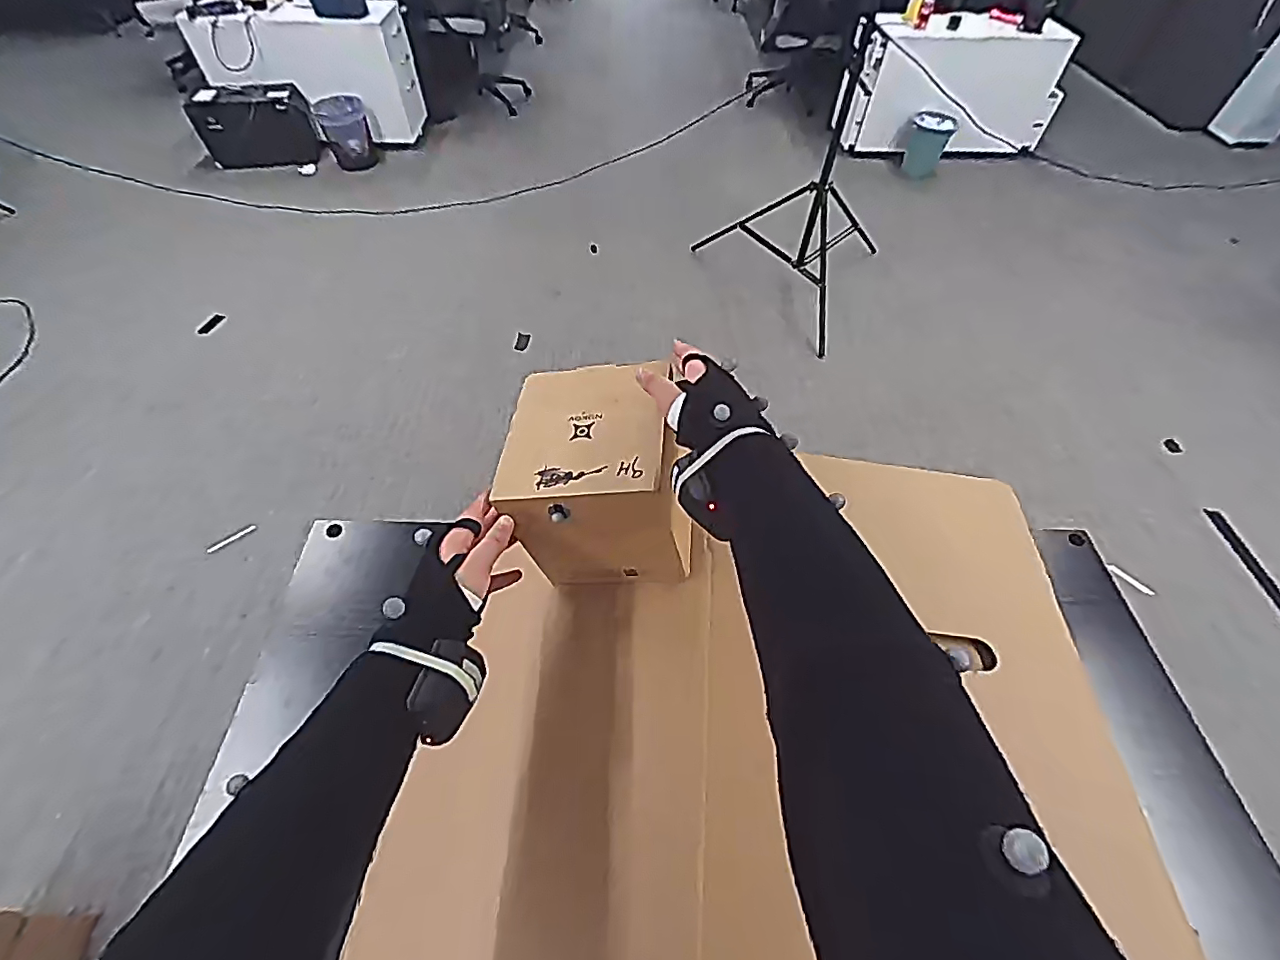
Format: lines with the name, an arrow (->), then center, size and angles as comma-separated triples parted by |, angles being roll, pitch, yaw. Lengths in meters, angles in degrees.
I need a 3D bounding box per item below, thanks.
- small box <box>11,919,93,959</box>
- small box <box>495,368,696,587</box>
small box -> -1.178, 0.921, 0.989 | 0.168, 0.176, 0.179 | -3, 53, -3
small box -> -0.033, 0.002, 0.603 | 0.168, 0.176, 0.179 | -5, 50, 14
